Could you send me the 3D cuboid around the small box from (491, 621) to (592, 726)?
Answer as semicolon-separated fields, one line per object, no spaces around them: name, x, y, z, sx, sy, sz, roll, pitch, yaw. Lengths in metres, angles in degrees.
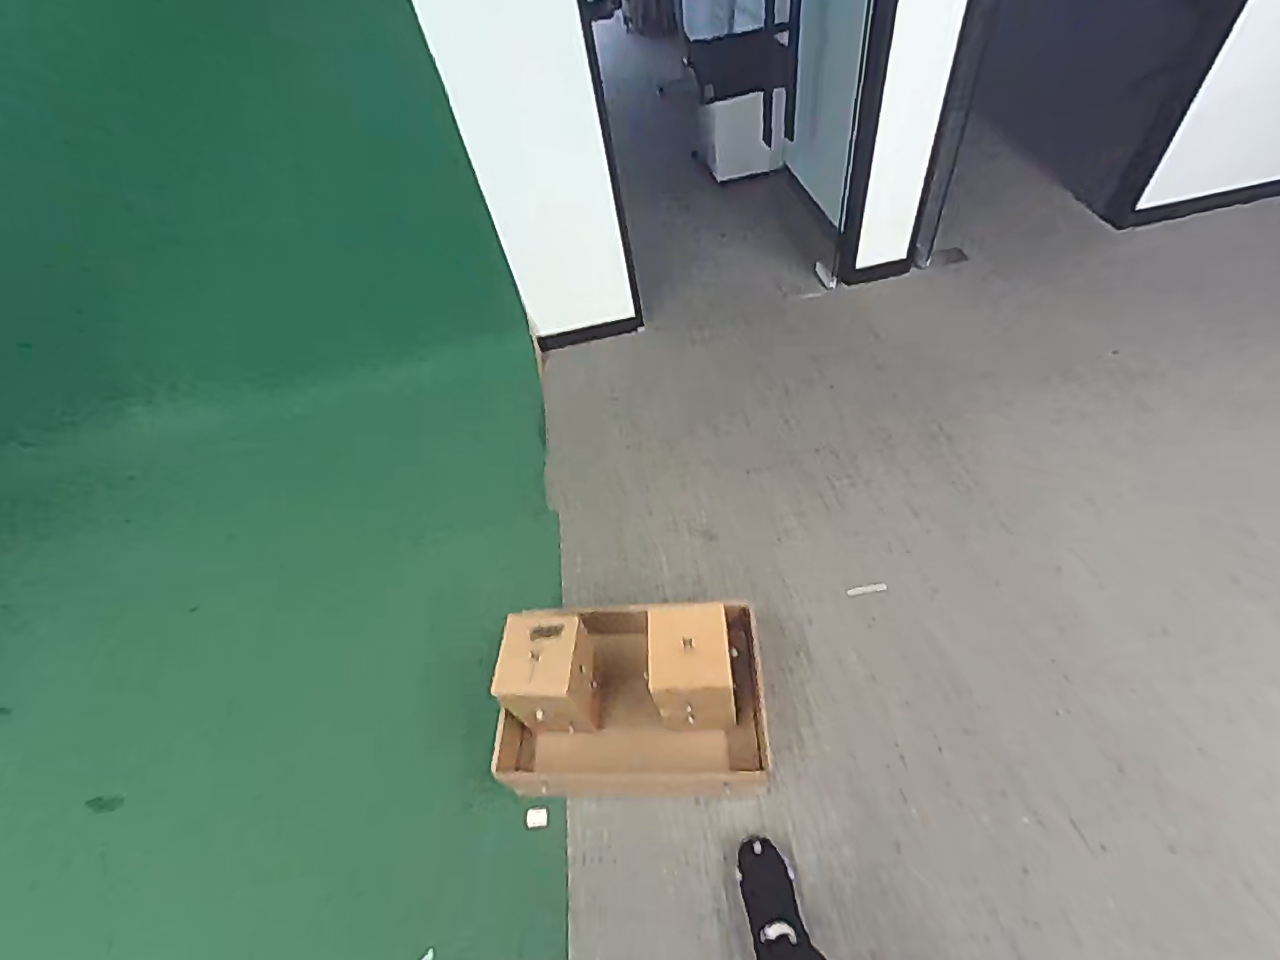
small box;-0.209;0.433;1.209;0.168;0.176;0.179;-1;52;9

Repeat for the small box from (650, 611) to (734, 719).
small box;0.112;0.401;1.169;0.168;0.176;0.179;-6;52;7
